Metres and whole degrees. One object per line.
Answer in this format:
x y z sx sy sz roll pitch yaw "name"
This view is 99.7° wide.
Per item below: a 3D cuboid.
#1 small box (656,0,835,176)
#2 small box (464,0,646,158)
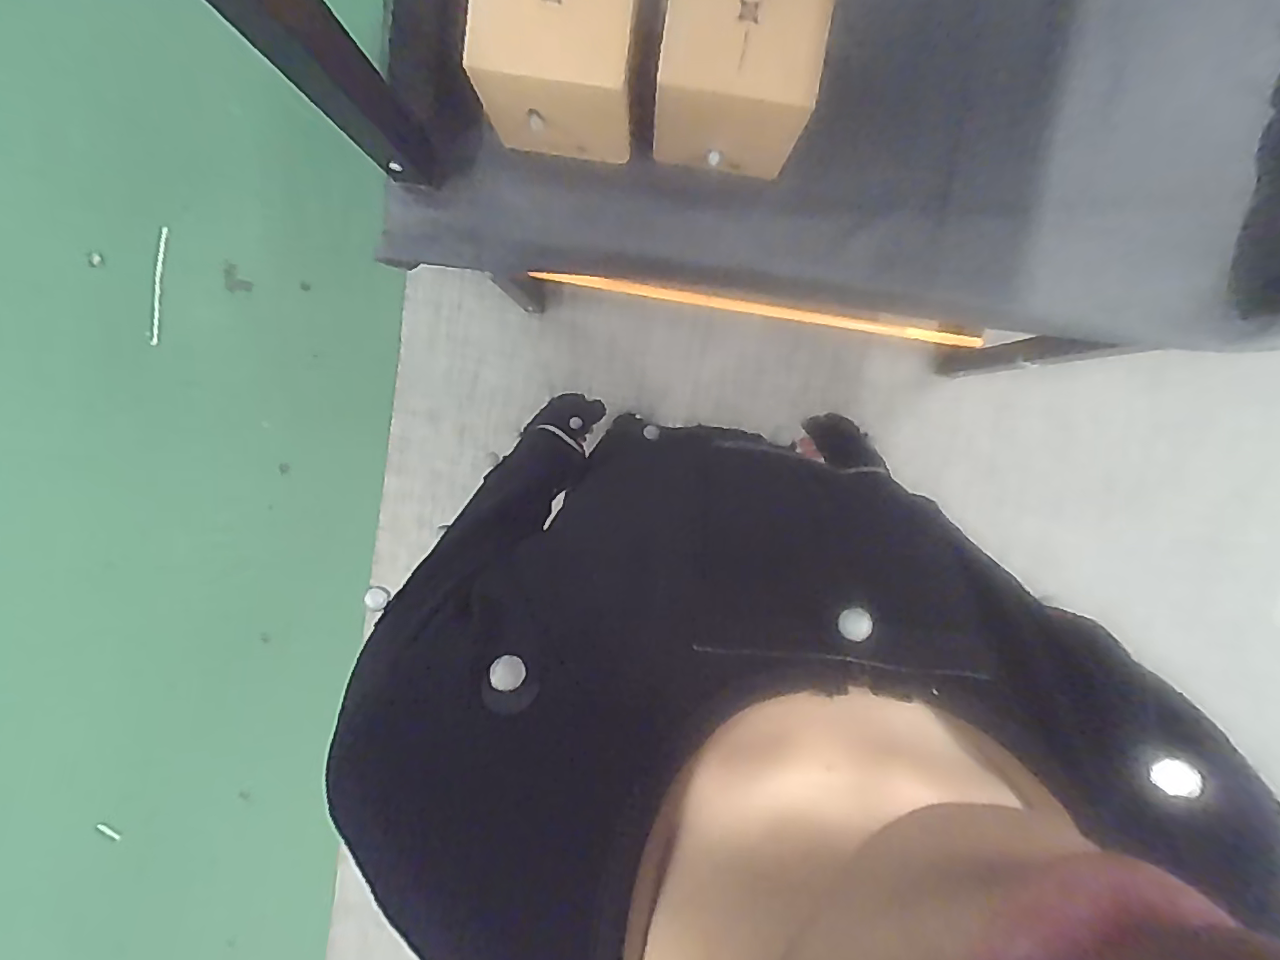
0.111 -0.482 0.613 0.168 0.176 0.179 9 97 0 "small box"
-0.085 -0.499 0.613 0.168 0.176 0.179 8 95 -1 "small box"
